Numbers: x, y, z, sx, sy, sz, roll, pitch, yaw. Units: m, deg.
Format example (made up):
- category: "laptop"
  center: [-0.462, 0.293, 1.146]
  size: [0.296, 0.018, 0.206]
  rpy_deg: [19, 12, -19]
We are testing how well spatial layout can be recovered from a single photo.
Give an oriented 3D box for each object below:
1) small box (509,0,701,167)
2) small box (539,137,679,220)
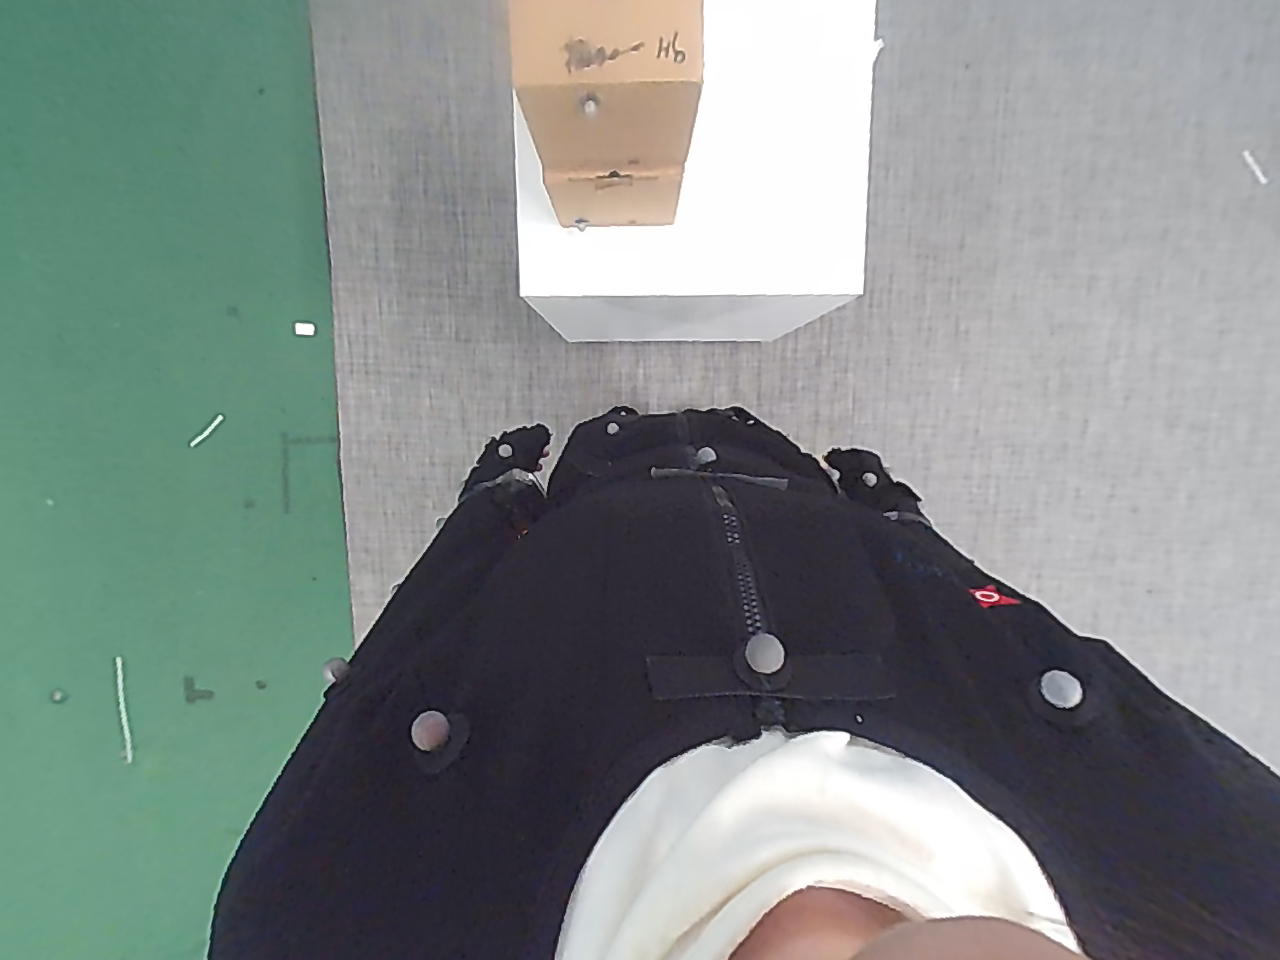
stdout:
- category: "small box"
  center: [-0.031, -0.439, 0.532]
  size: [0.168, 0.176, 0.179]
  rpy_deg: [-1, 97, 0]
- category: "small box"
  center: [-0.035, -0.450, 0.695]
  size: [0.168, 0.176, 0.179]
  rpy_deg: [-1, 97, -1]
